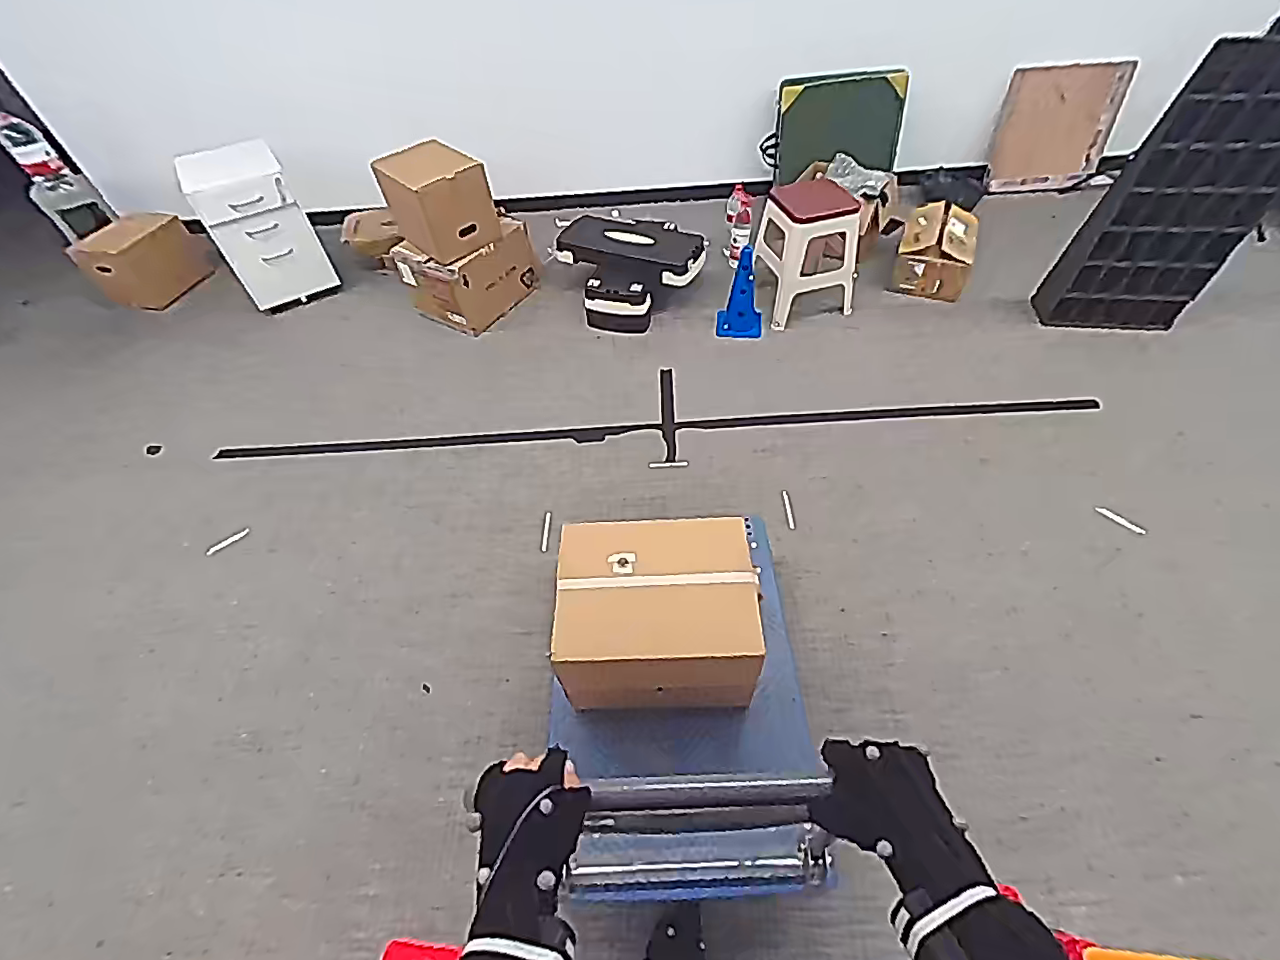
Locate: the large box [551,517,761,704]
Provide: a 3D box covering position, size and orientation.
[{"bbox_3d":[0.037,0.303,1.222,0.408,0.320,0.320,-3,51,3],"label":"large box"}]

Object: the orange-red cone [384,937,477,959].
[{"bbox_3d":[-0.444,0.928,0.934,0.198,0.360,0.199,4,50,6],"label":"orange-red cone"}]

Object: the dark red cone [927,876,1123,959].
[{"bbox_3d":[0.683,0.797,0.932,0.201,0.394,0.202,-1,51,1],"label":"dark red cone"}]
